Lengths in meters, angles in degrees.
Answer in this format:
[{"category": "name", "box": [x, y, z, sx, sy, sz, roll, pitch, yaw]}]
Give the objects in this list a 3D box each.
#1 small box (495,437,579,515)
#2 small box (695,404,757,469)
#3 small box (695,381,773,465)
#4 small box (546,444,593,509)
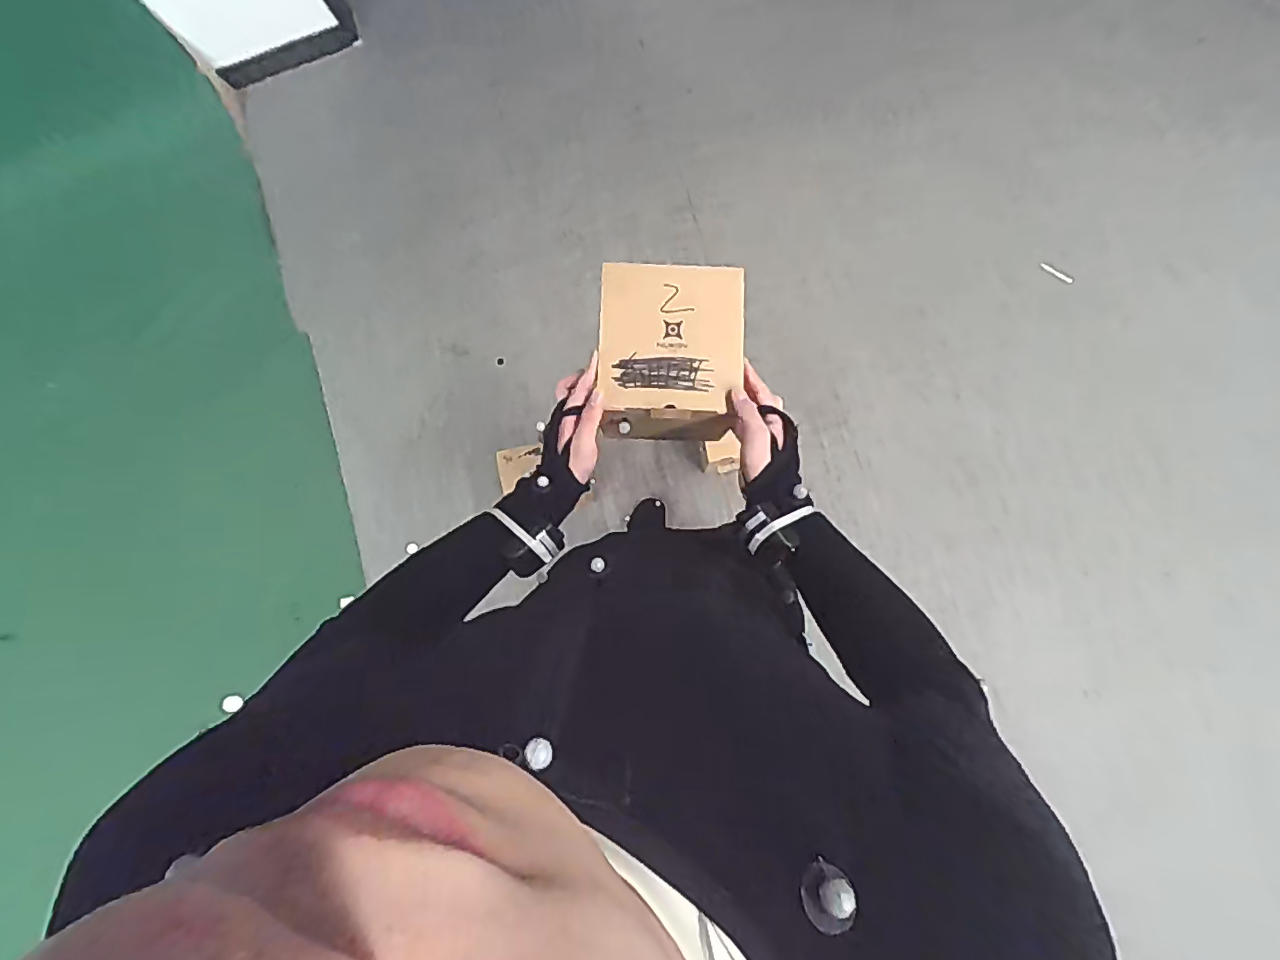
[{"category": "small box", "box": [-0.269, -0.009, 1.443, 0.168, 0.176, 0.179, -11, 87, 4]}, {"category": "small box", "box": [0.245, -0.128, 1.566, 0.168, 0.176, 0.179, -4, 88, 7]}, {"category": "small box", "box": [0.238, -0.141, 1.406, 0.168, 0.176, 0.179, -9, 87, 4]}, {"category": "small box", "box": [-0.250, -0.005, 1.605, 0.179, 0.176, 0.168, -10, 87, 4]}]
